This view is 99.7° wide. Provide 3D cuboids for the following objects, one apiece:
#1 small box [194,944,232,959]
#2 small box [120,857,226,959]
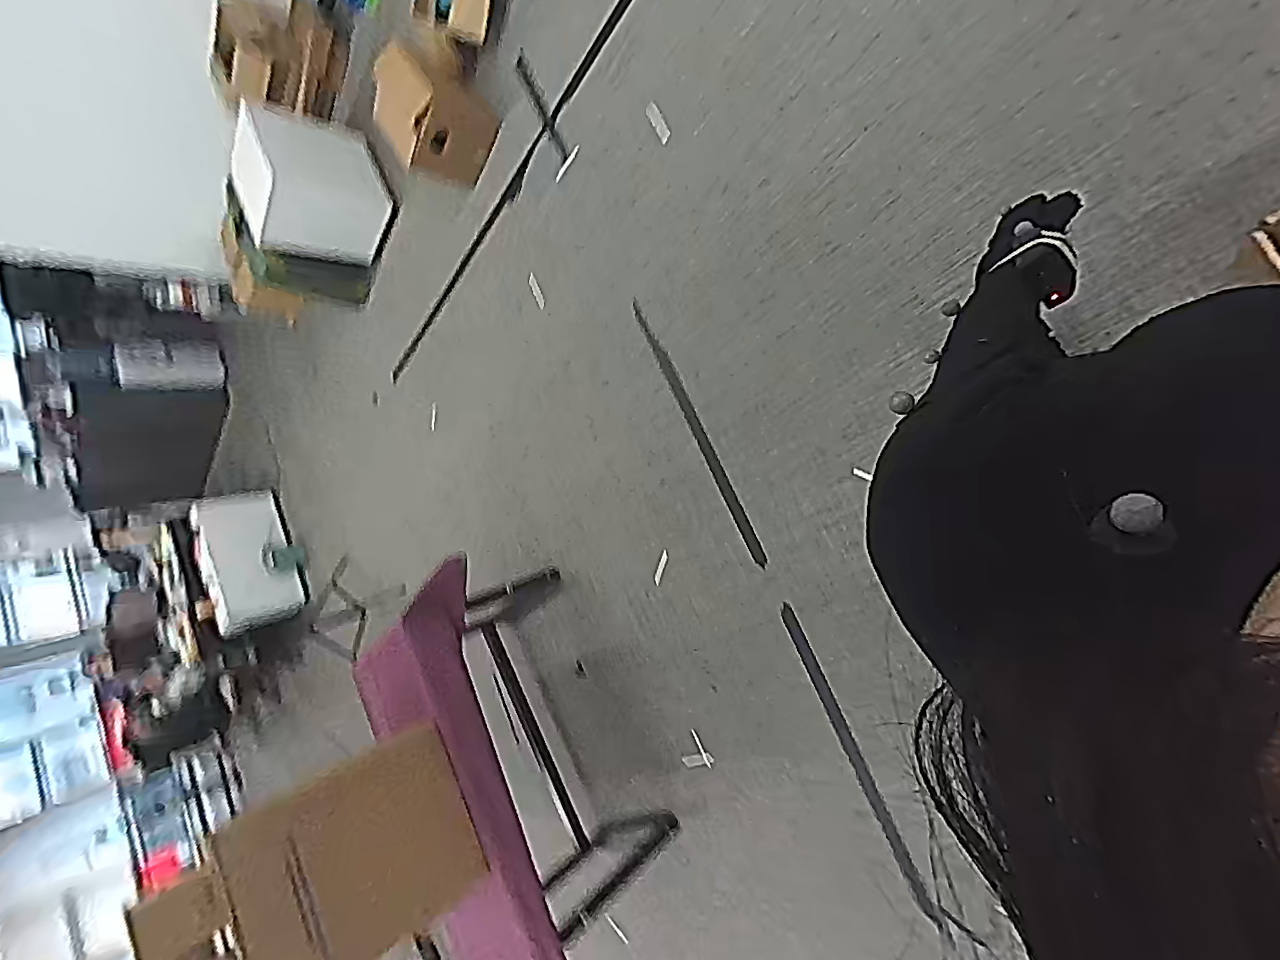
[{"bbox_3d":[-1.087,1.287,1.318,0.168,0.176,0.179,-34,75,40],"label":"small box"},{"bbox_3d":[-1.150,1.066,1.333,0.179,0.176,0.168,-32,78,40],"label":"small box"}]
